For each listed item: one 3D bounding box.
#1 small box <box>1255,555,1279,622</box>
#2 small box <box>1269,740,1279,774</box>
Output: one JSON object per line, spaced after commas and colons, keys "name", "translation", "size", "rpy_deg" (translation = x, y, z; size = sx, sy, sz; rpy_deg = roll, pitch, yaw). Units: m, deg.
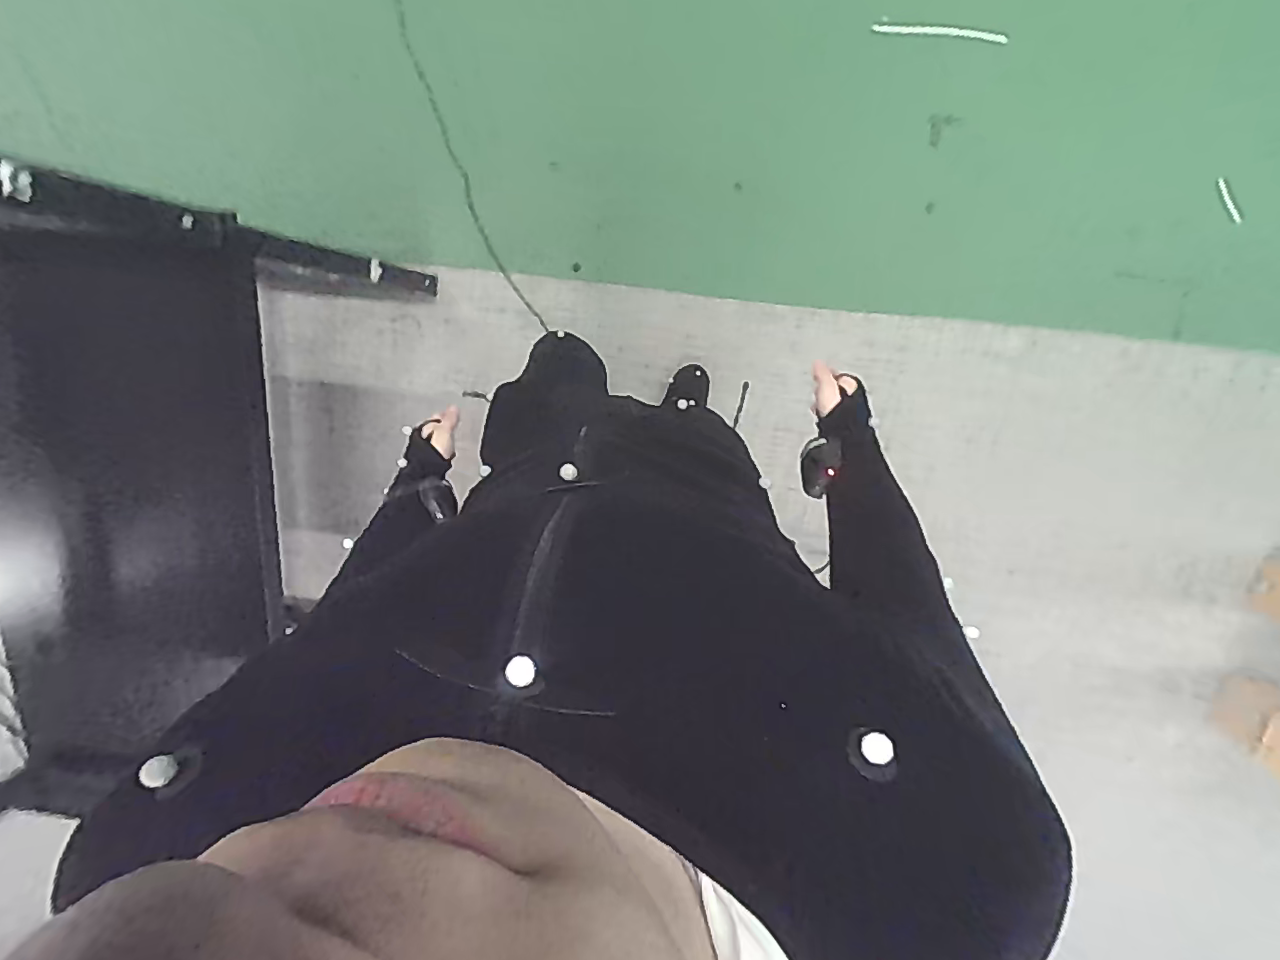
{"name": "small box", "translation": [1.815, 0.319, 1.431], "size": [0.168, 0.176, 0.179], "rpy_deg": [10, 105, 4]}
{"name": "small box", "translation": [1.776, 0.723, 1.362], "size": [0.179, 0.176, 0.168], "rpy_deg": [5, 104, 5]}
